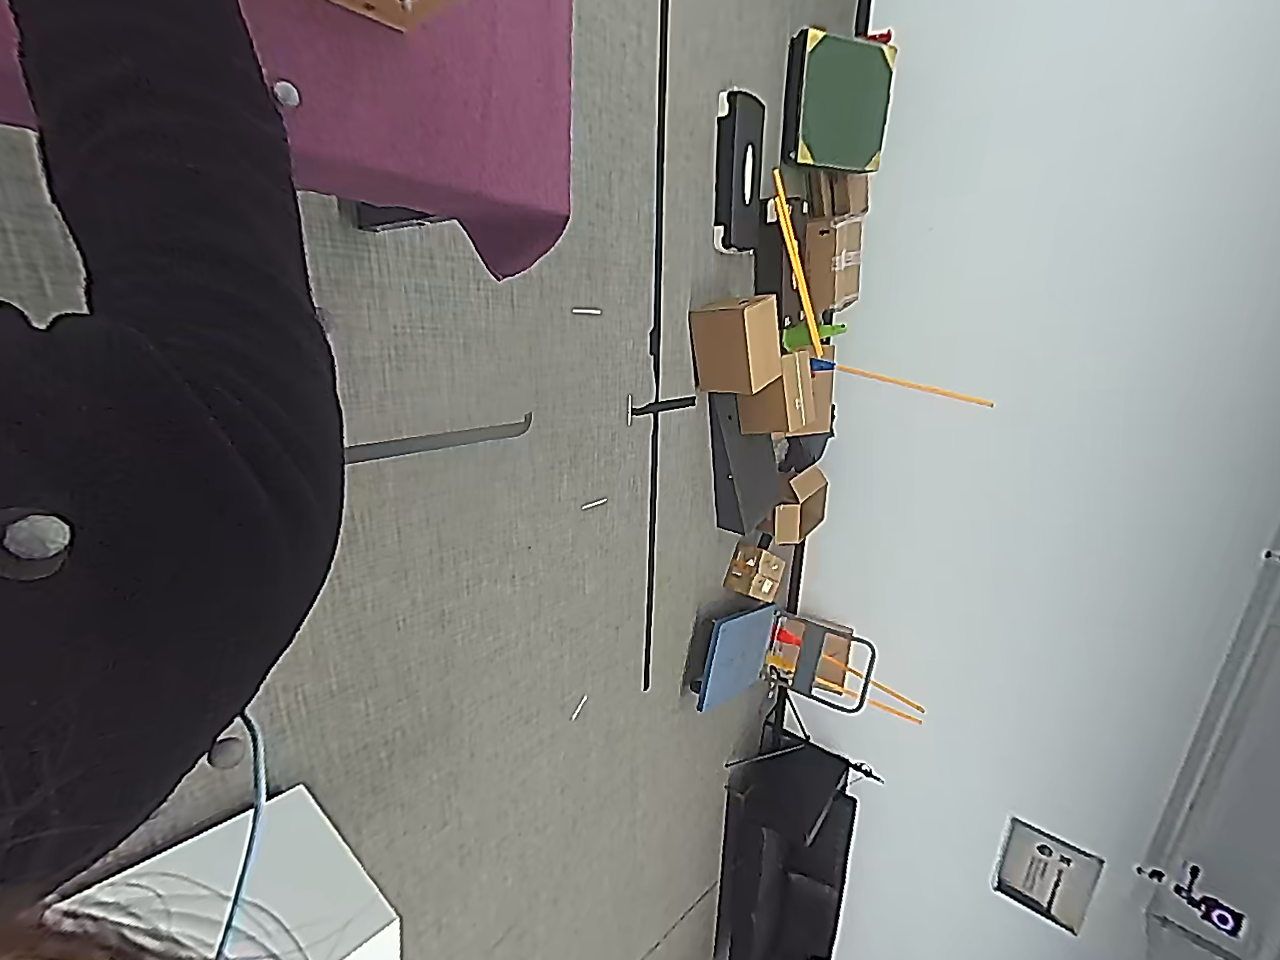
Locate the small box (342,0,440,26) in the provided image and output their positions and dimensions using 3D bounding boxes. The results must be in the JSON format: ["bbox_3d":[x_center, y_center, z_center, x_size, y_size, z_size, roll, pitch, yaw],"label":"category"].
[{"bbox_3d":[-0.307,-0.653,0.598,0.168,0.176,0.179,-19,116,-49],"label":"small box"}]
